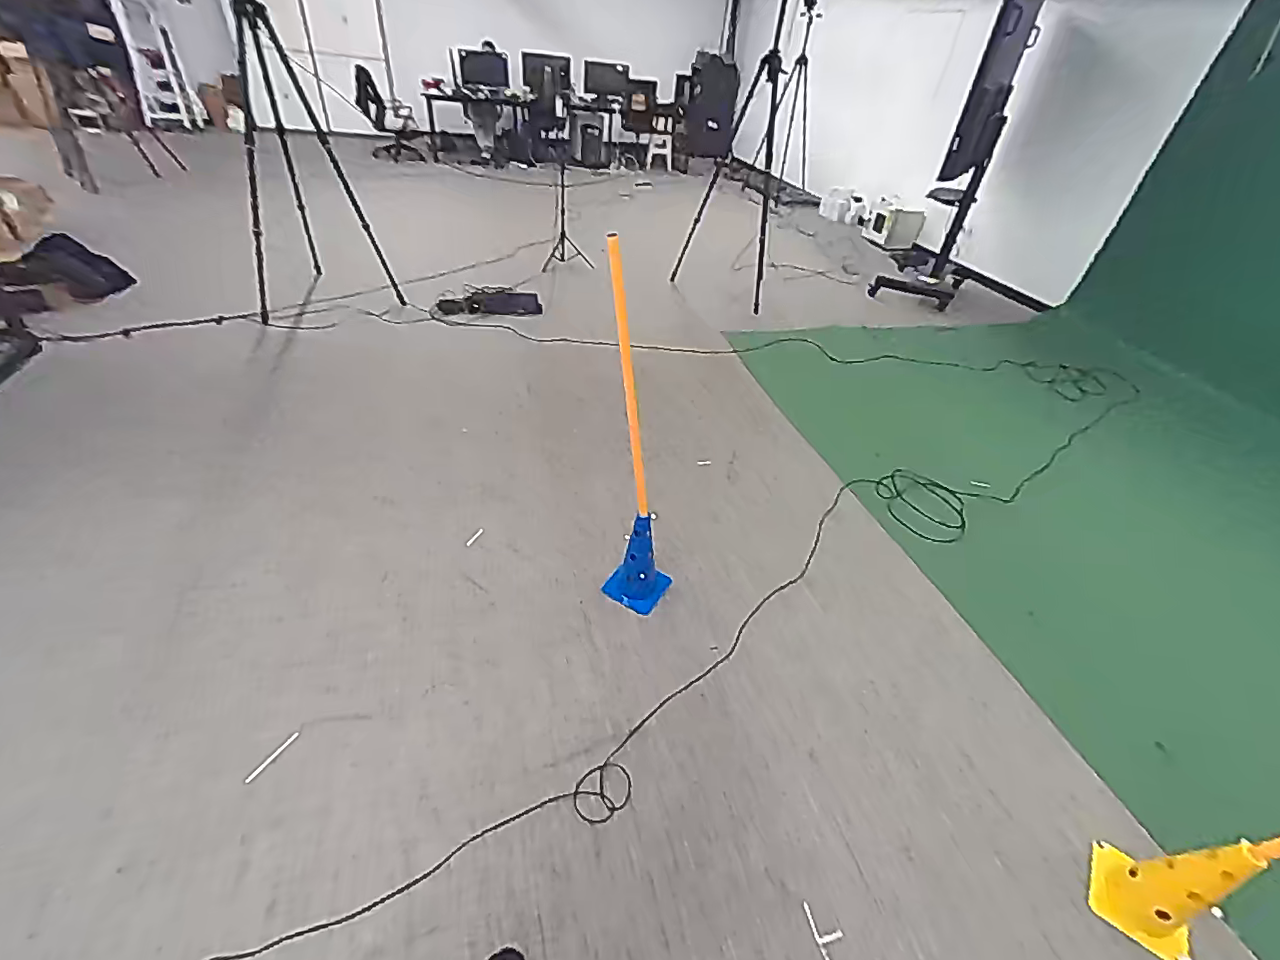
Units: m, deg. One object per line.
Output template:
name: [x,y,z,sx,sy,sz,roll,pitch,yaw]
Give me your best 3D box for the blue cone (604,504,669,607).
blue cone: [-0.004,0.236,1.815,0.193,0.380,0.192,22,43,21]
